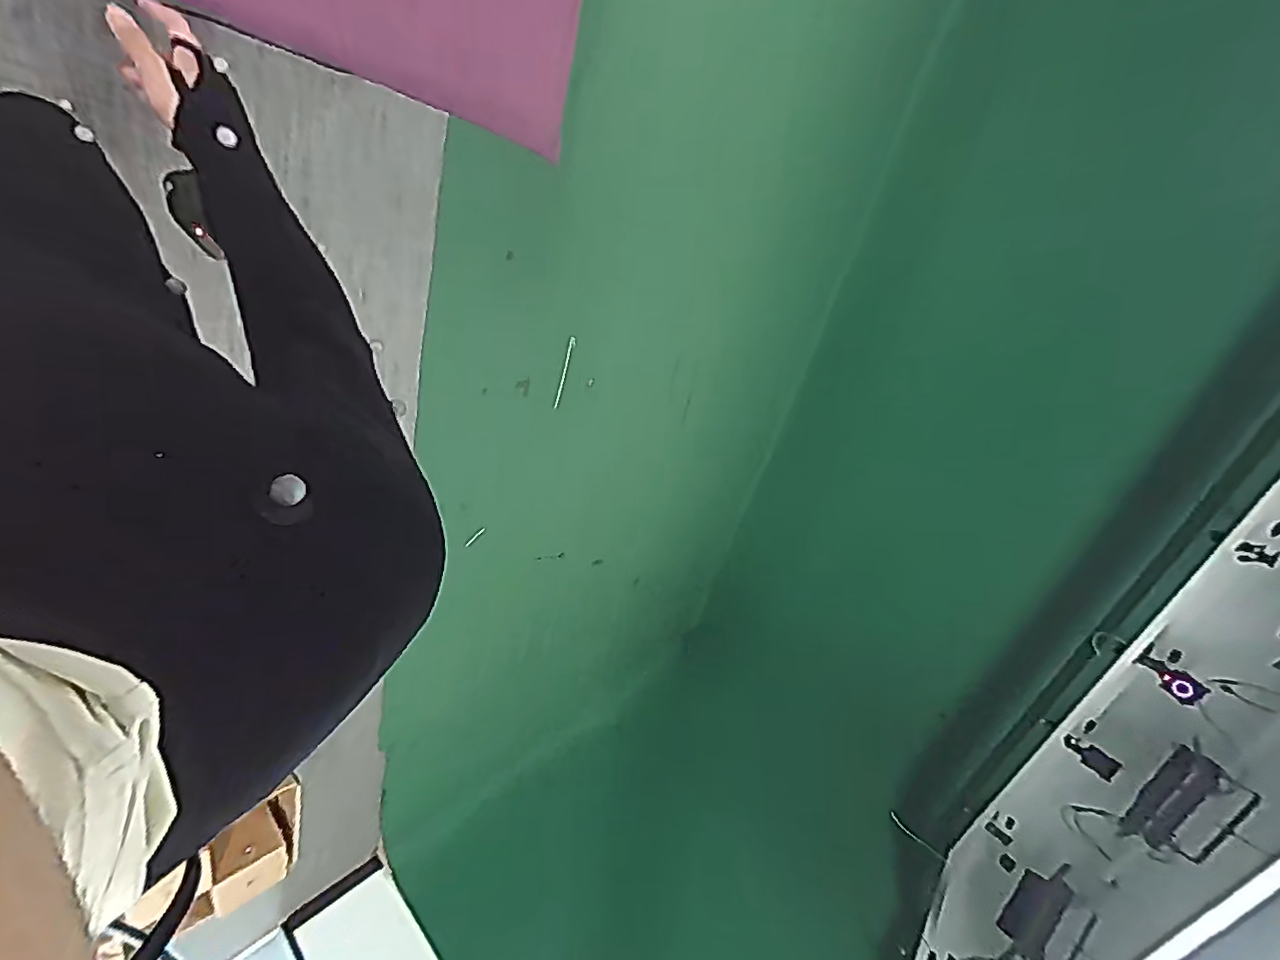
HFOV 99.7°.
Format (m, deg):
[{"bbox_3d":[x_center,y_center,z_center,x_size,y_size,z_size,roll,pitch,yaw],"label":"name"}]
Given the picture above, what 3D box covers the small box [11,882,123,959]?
[{"bbox_3d":[-1.376,1.133,1.303,0.168,0.176,0.179,-11,126,-50],"label":"small box"}]
